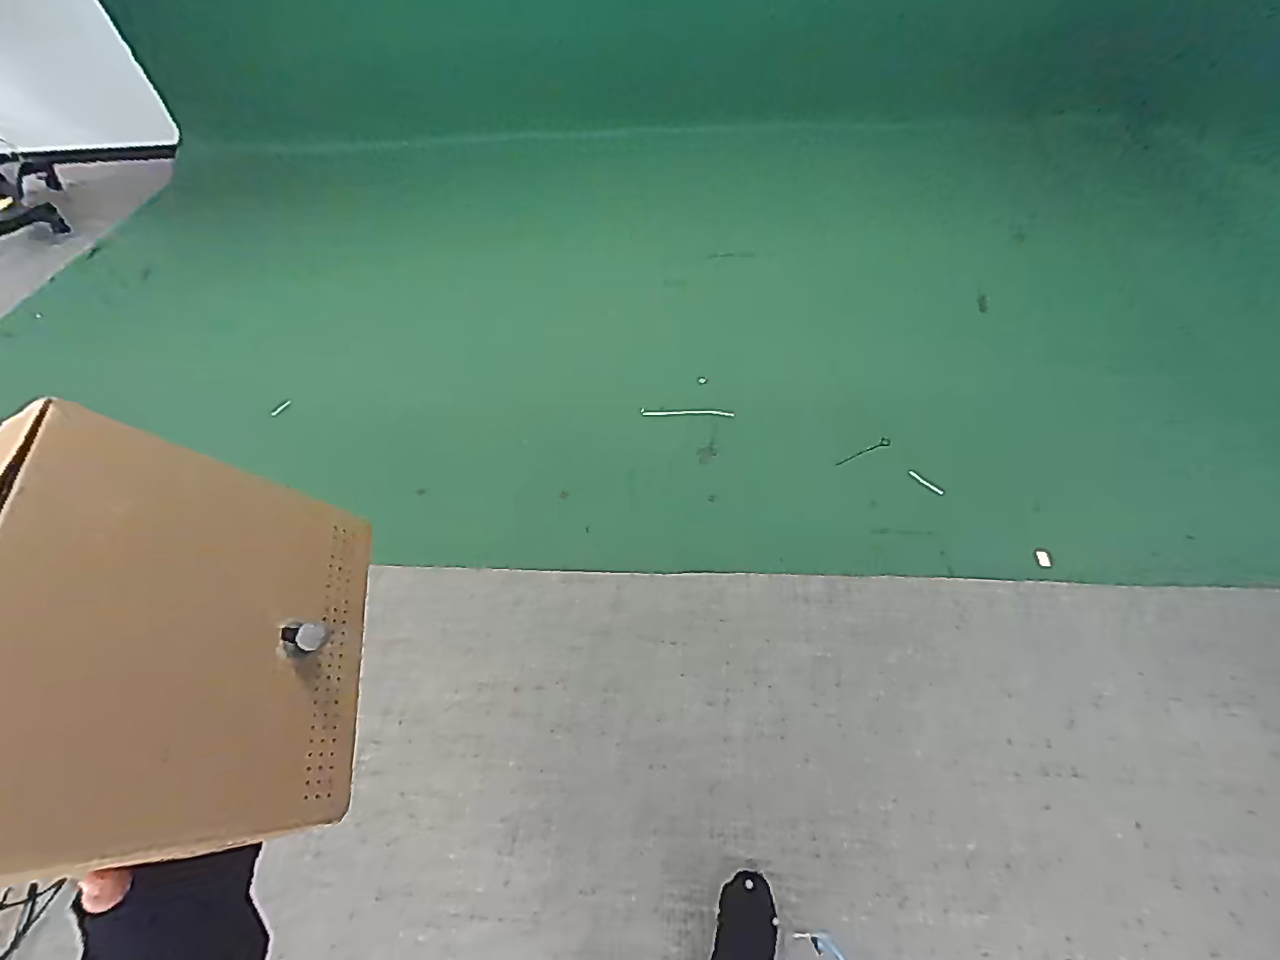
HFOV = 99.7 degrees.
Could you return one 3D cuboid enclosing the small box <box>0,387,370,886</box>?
[{"bbox_3d":[-0.264,0.091,0.270,0.168,0.176,0.179,-21,60,17],"label":"small box"}]
